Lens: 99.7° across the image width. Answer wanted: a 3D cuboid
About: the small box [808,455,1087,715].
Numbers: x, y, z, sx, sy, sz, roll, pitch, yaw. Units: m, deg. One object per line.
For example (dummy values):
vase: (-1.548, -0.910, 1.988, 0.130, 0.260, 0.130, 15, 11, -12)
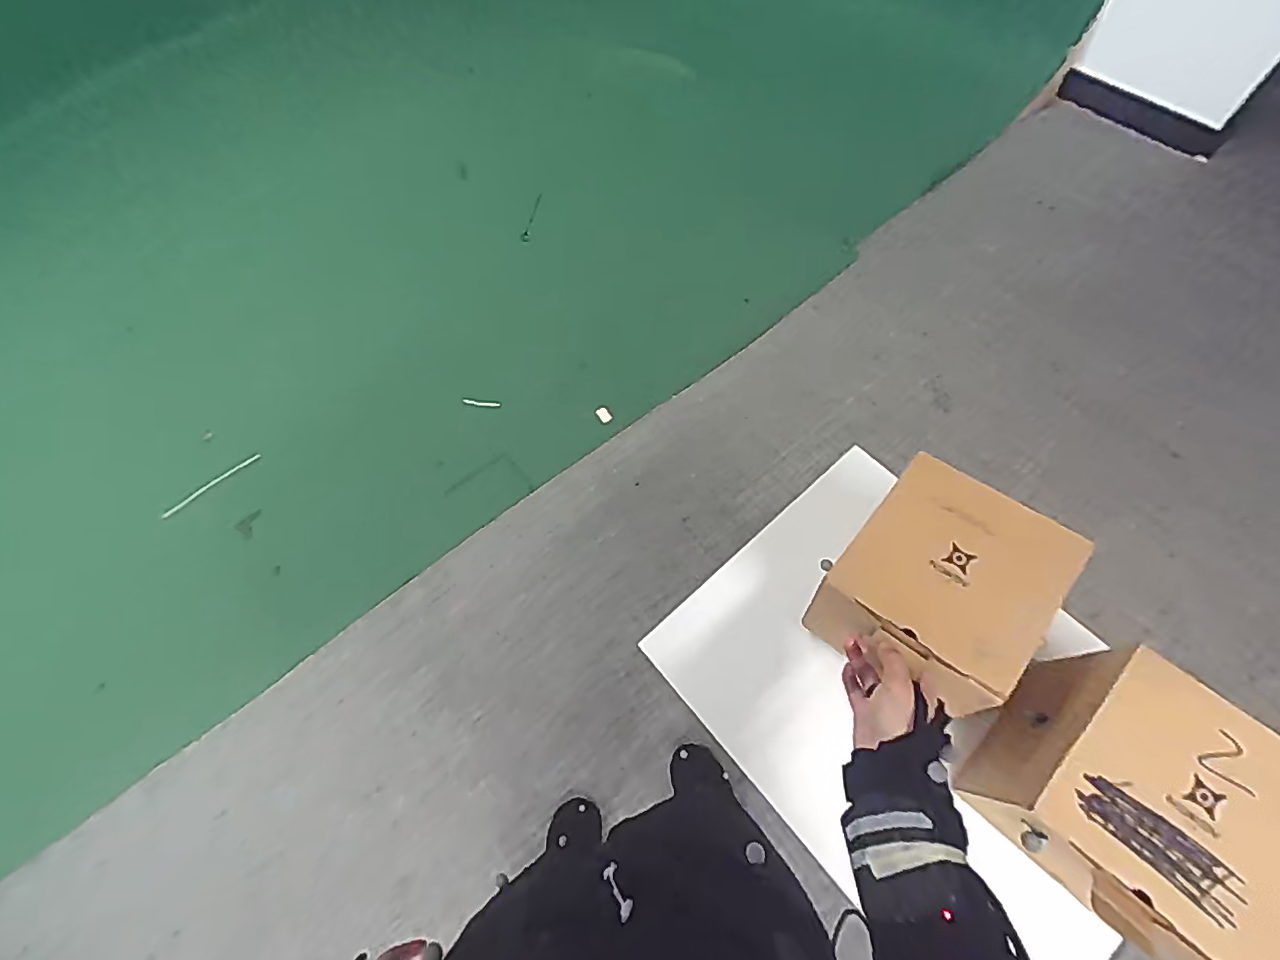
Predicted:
small box: (0.291, 0.115, 0.554, 0.168, 0.176, 0.179, 35, 71, 23)
